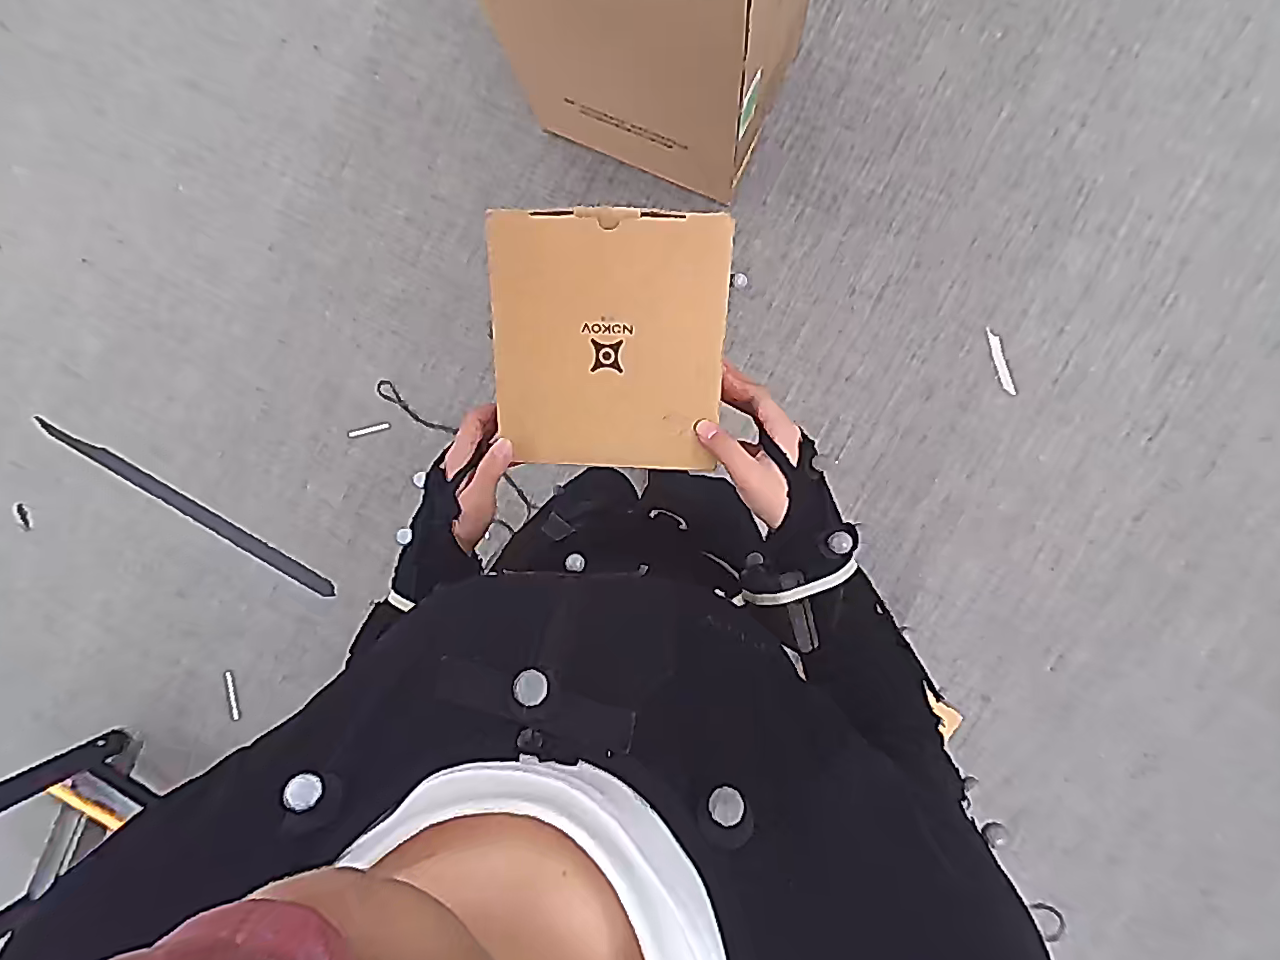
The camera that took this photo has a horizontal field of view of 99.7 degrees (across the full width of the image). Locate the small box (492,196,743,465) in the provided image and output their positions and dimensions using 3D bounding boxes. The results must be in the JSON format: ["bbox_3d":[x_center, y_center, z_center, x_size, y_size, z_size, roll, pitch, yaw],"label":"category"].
[{"bbox_3d":[-0.011,-0.122,0.447,0.168,0.176,0.179,3,108,3],"label":"small box"}]
